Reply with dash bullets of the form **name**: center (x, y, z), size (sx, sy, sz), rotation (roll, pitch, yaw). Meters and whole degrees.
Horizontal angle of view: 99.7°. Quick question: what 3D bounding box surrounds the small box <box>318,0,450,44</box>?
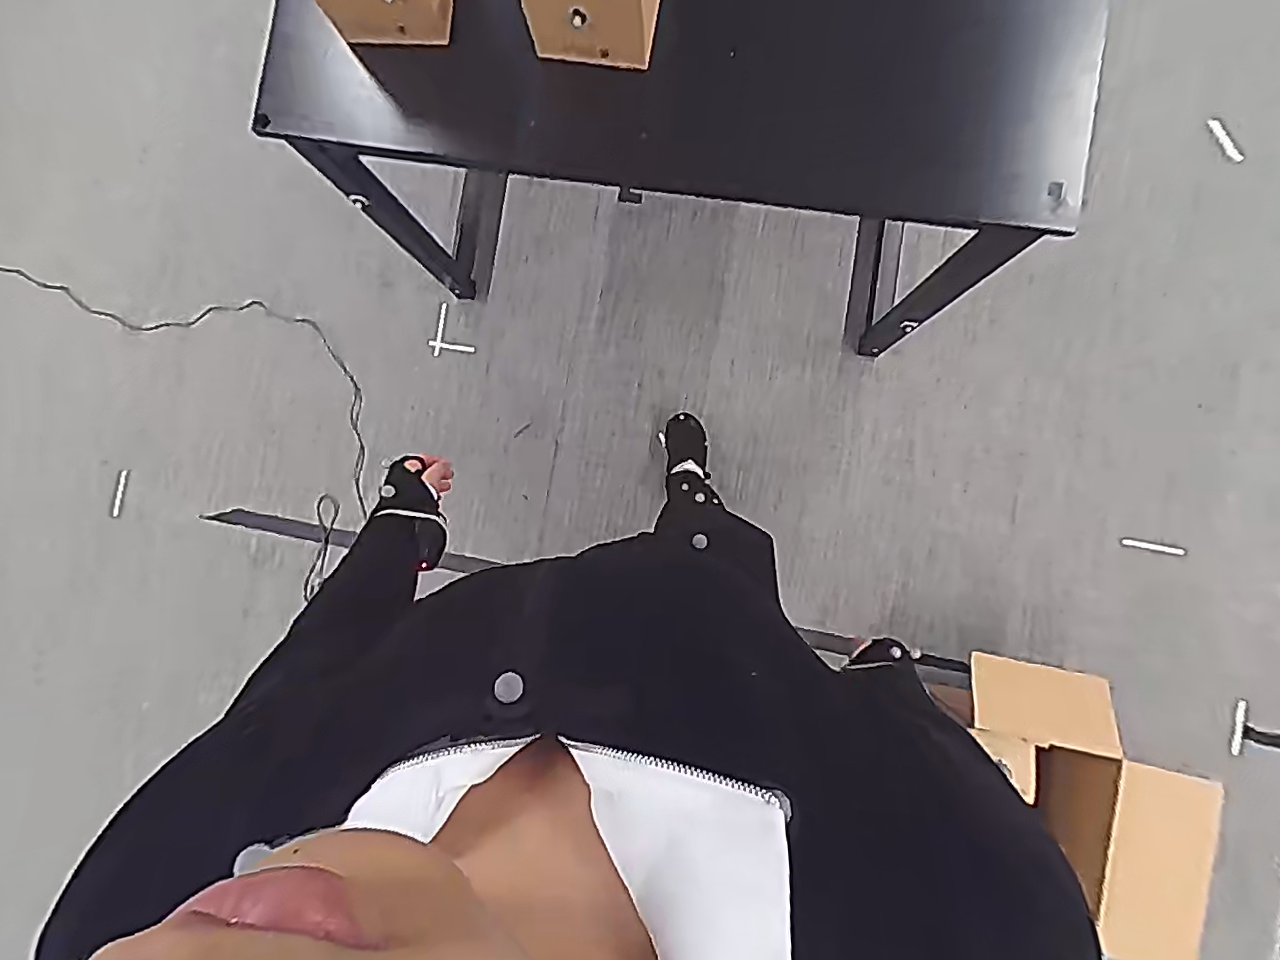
- **small box**: center (-0.365, -0.742, 0.734), size (0.168, 0.176, 0.179), rotation (4, 87, 2)

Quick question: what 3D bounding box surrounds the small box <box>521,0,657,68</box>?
- **small box**: center (-0.062, -0.693, 0.712), size (0.168, 0.176, 0.179), rotation (10, 88, 3)
